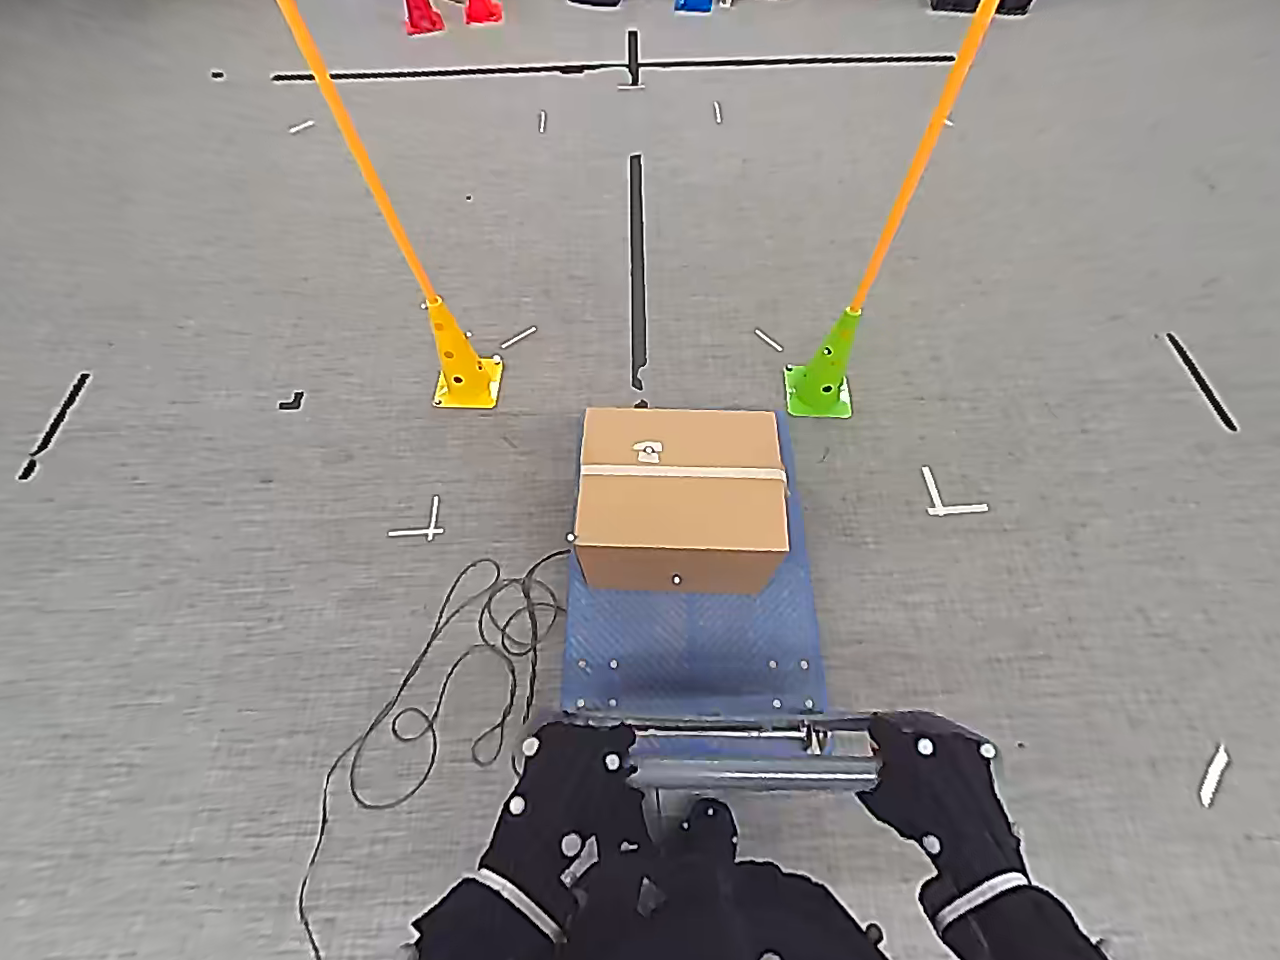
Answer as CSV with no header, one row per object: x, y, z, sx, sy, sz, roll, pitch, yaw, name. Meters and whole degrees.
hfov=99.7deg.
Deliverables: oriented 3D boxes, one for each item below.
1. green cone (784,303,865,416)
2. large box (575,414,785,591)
0.575,-0.372,1.600,0.202,0.368,0.200,2,63,0,green cone
0.083,0.062,1.215,0.408,0.320,0.320,1,63,2,large box
